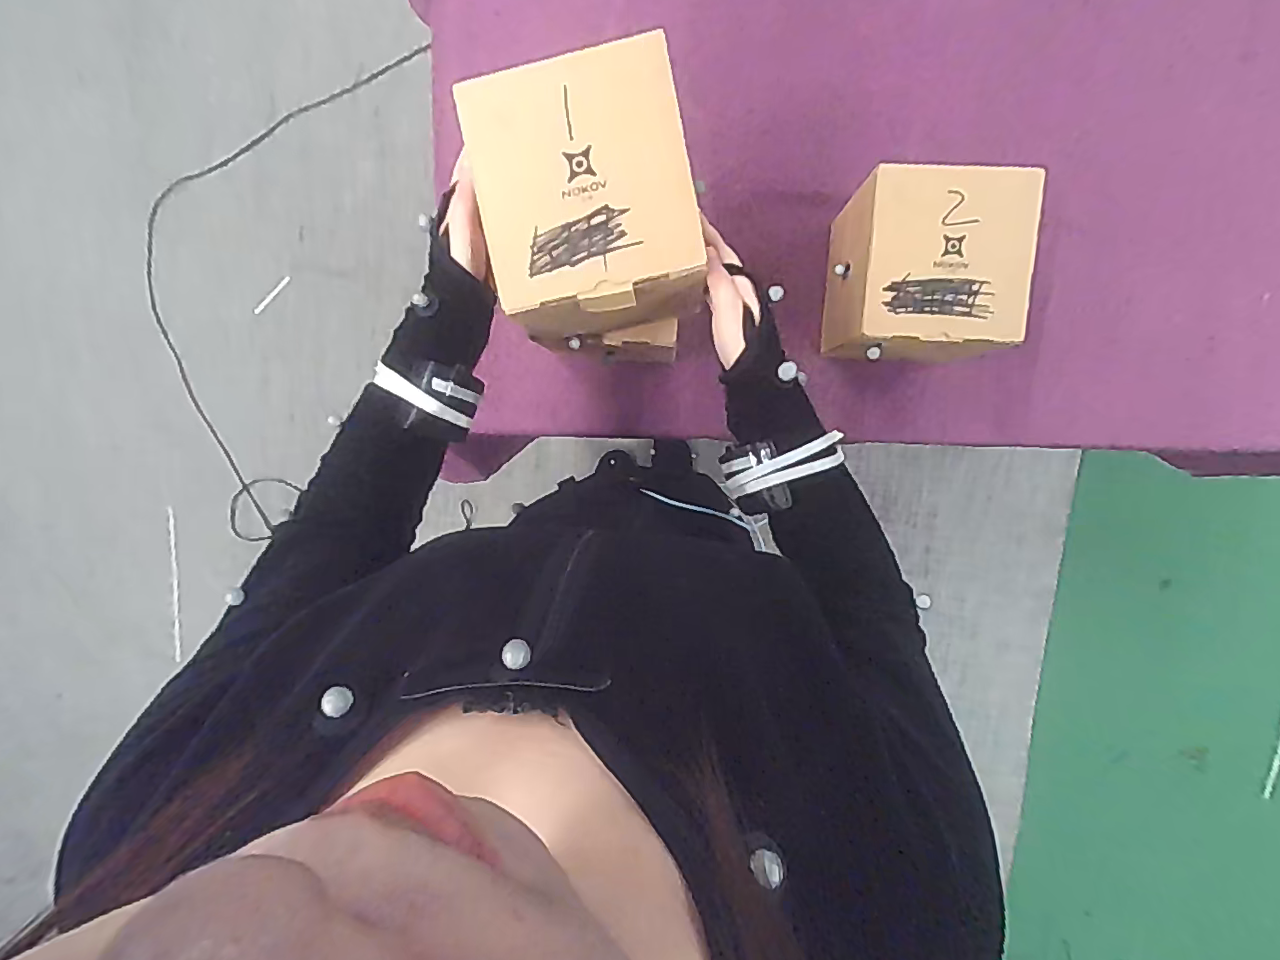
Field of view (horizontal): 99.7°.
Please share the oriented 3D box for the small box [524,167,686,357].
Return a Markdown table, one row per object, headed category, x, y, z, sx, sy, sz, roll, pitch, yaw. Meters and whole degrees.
| category | x | y | z | sx | sy | sz | roll | pitch | yaw |
| --- | --- | --- | --- | --- | --- | --- | --- | --- | --- |
| small box | -0.036 | -0.248 | 0.655 | 0.168 | 0.176 | 0.179 | 5 | 98 | 1 |
